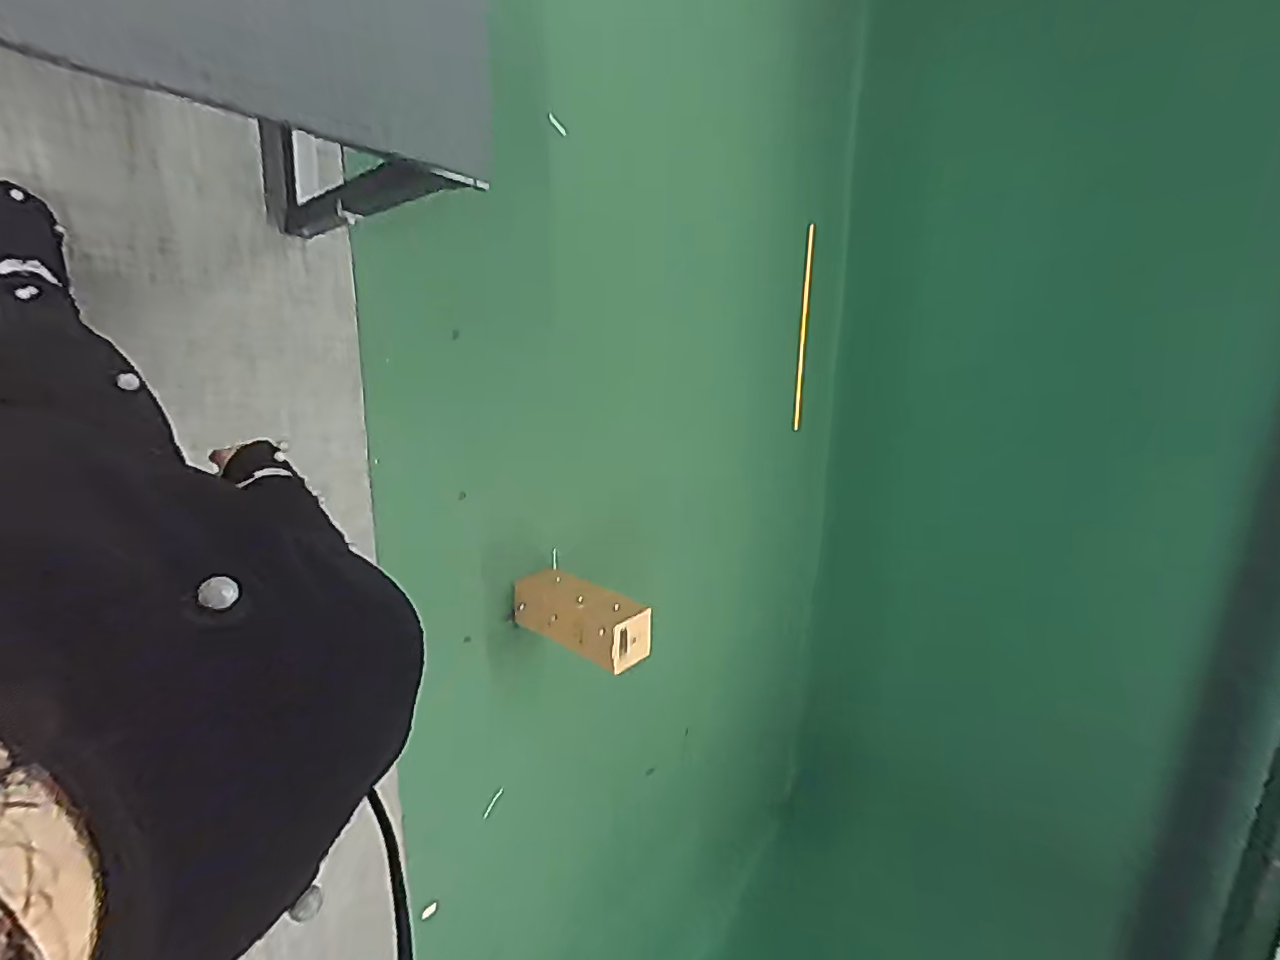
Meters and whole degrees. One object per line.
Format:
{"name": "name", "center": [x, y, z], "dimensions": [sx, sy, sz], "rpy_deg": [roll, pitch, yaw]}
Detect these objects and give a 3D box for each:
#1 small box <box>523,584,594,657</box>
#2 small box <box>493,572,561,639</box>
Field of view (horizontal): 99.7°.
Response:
{"name": "small box", "center": [-0.278, 0.471, 1.851], "dimensions": [0.179, 0.176, 0.168], "rpy_deg": [-13, 109, -50]}
{"name": "small box", "center": [-0.406, 0.445, 1.946], "dimensions": [0.179, 0.176, 0.168], "rpy_deg": [-12, 107, -51]}
